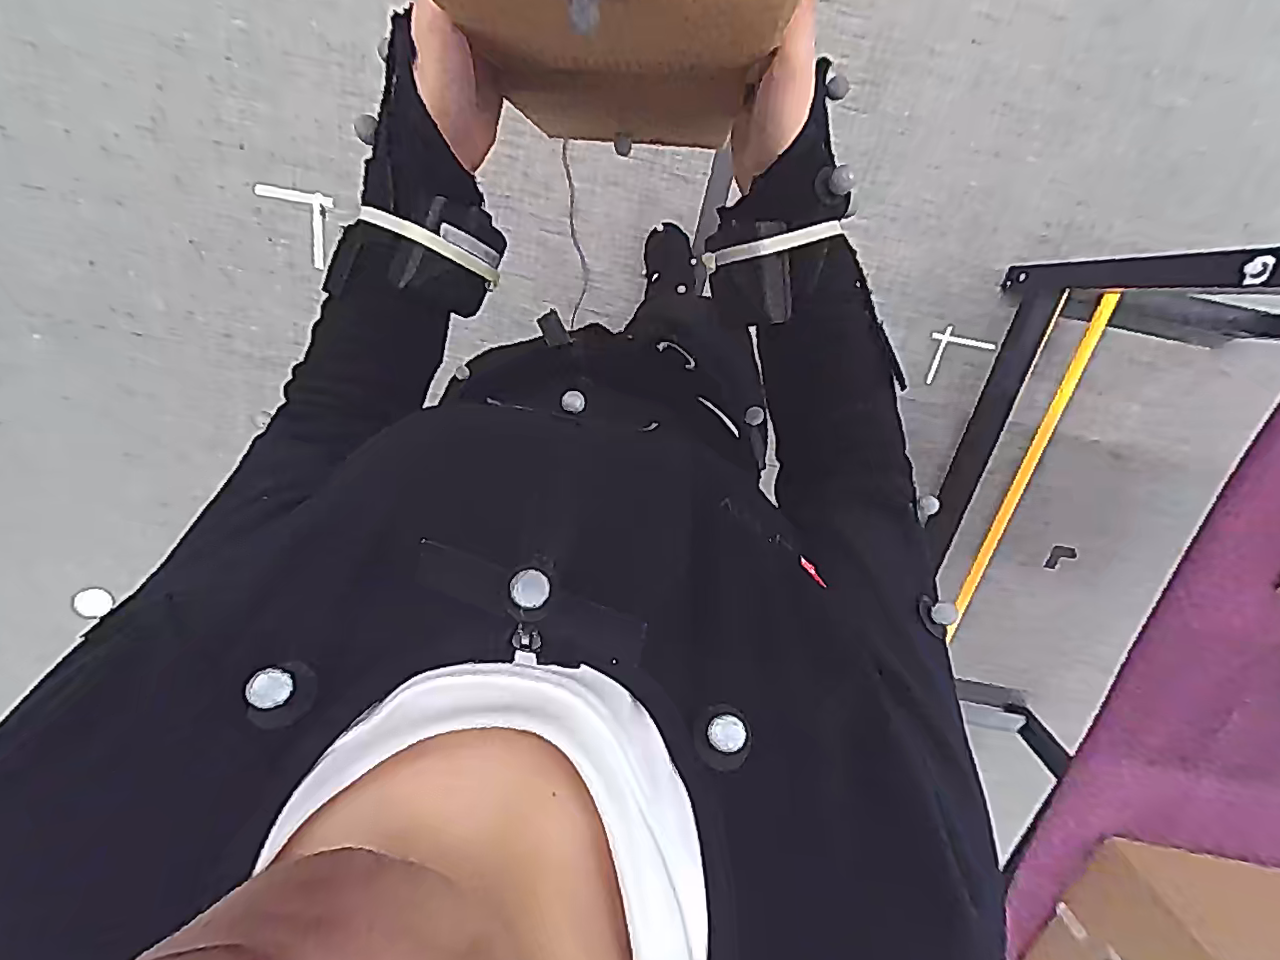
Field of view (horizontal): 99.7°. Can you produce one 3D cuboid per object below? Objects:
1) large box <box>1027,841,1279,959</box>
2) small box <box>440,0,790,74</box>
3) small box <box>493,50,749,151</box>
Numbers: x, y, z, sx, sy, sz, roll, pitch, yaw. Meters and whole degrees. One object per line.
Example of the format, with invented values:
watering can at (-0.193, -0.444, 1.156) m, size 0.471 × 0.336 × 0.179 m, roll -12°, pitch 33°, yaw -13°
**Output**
large box at (0.828, 0.738, 0.697) m, size 0.408 × 0.320 × 0.320 m, roll 11°, pitch 110°, yaw -3°
small box at (-0.008, -0.304, 0.238) m, size 0.179 × 0.176 × 0.168 m, roll 5°, pitch 113°, yaw 3°
small box at (-0.003, -0.358, 0.391) m, size 0.168 × 0.176 × 0.179 m, roll 5°, pitch 113°, yaw 3°
